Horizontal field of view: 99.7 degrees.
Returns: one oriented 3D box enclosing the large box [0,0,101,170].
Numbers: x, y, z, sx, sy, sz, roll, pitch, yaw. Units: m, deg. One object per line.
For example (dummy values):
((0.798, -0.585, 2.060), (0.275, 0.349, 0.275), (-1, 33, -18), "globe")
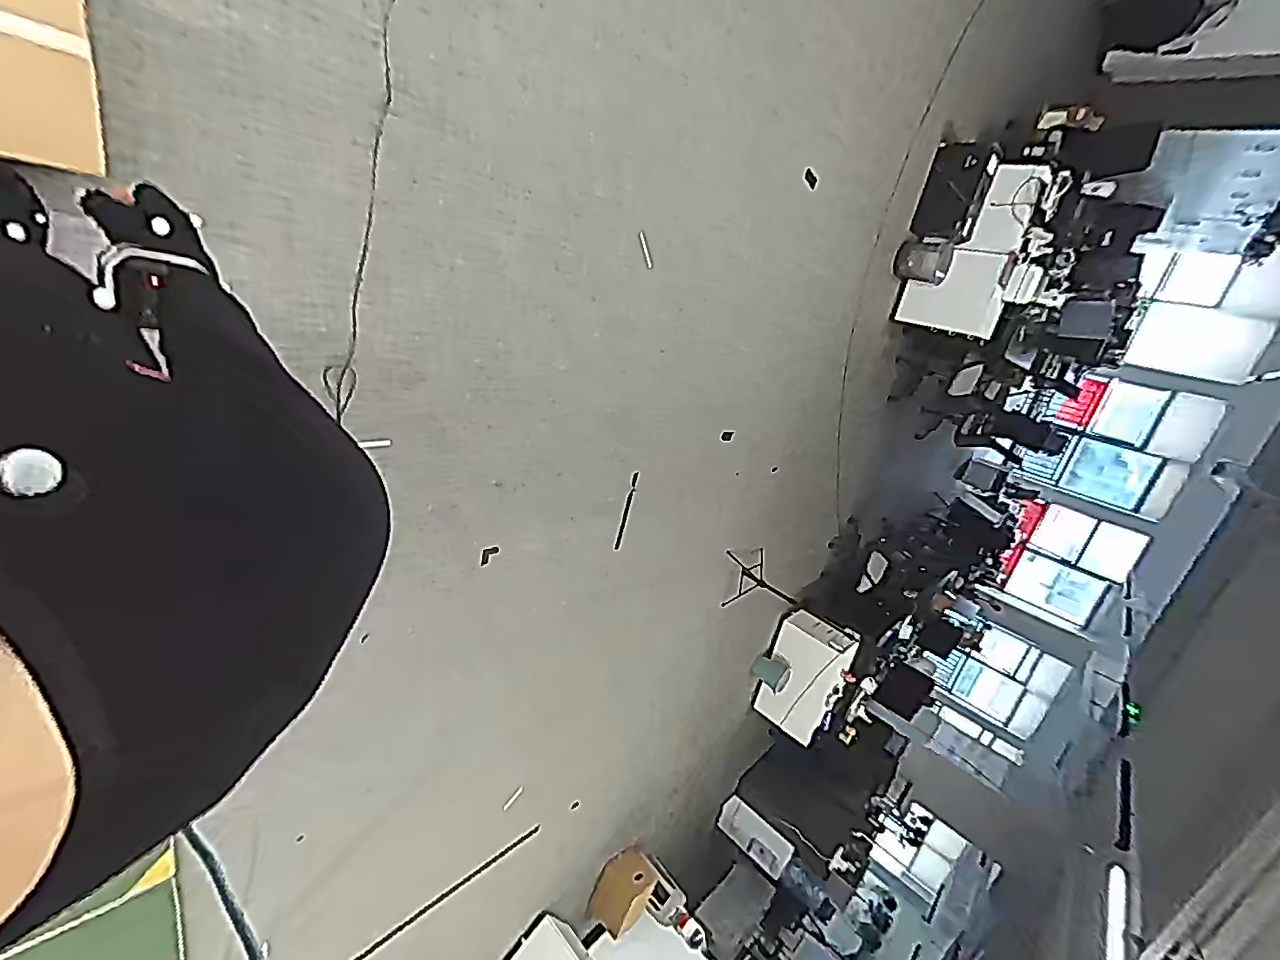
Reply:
((-1.005, -0.618, 0.683), (0.408, 0.320, 0.320), (-12, 121, -48), "large box")
